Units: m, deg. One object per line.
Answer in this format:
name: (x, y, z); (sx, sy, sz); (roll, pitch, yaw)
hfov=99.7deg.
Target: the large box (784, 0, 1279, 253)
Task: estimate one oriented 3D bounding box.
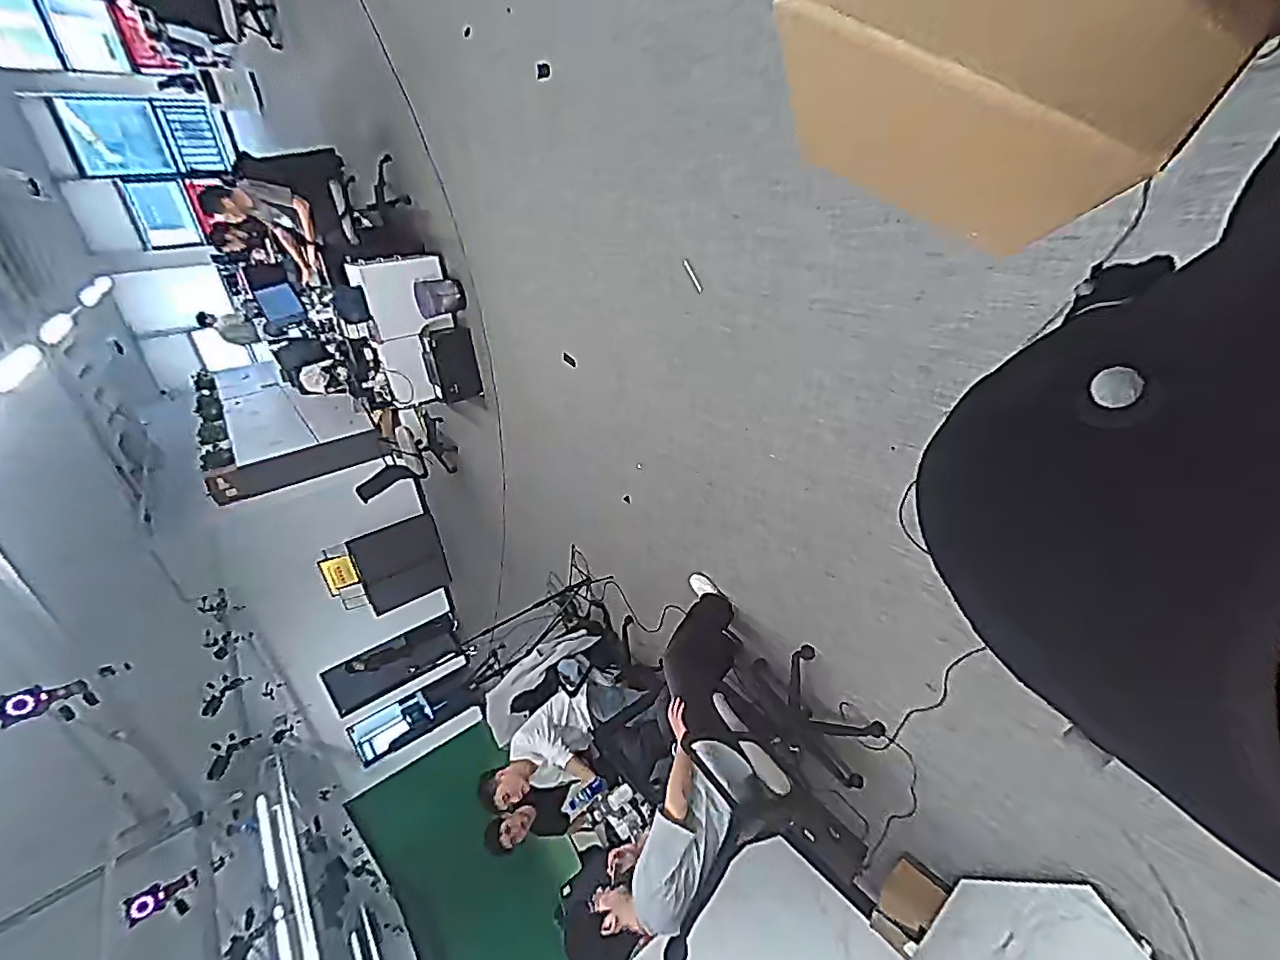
large box: (0.371, -0.469, 0.540); (0.320, 0.408, 0.320); (34, 112, 9)
